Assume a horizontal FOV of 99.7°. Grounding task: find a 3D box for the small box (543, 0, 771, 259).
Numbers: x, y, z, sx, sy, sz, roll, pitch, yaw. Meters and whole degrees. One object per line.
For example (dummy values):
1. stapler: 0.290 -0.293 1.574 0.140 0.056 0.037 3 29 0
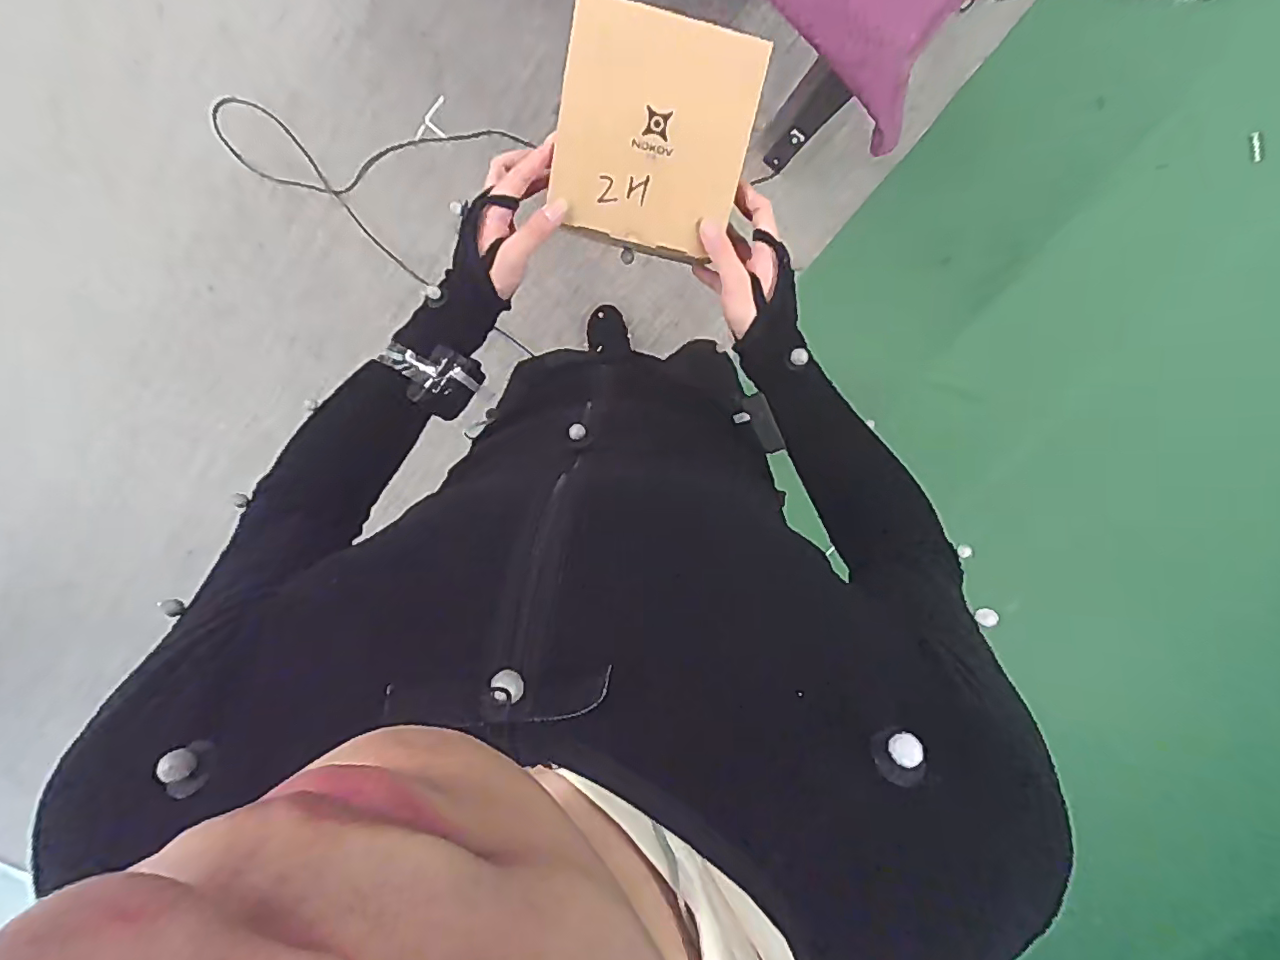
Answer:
1. small box: 0.008 -0.332 0.538 0.168 0.176 0.179 12 110 -6
